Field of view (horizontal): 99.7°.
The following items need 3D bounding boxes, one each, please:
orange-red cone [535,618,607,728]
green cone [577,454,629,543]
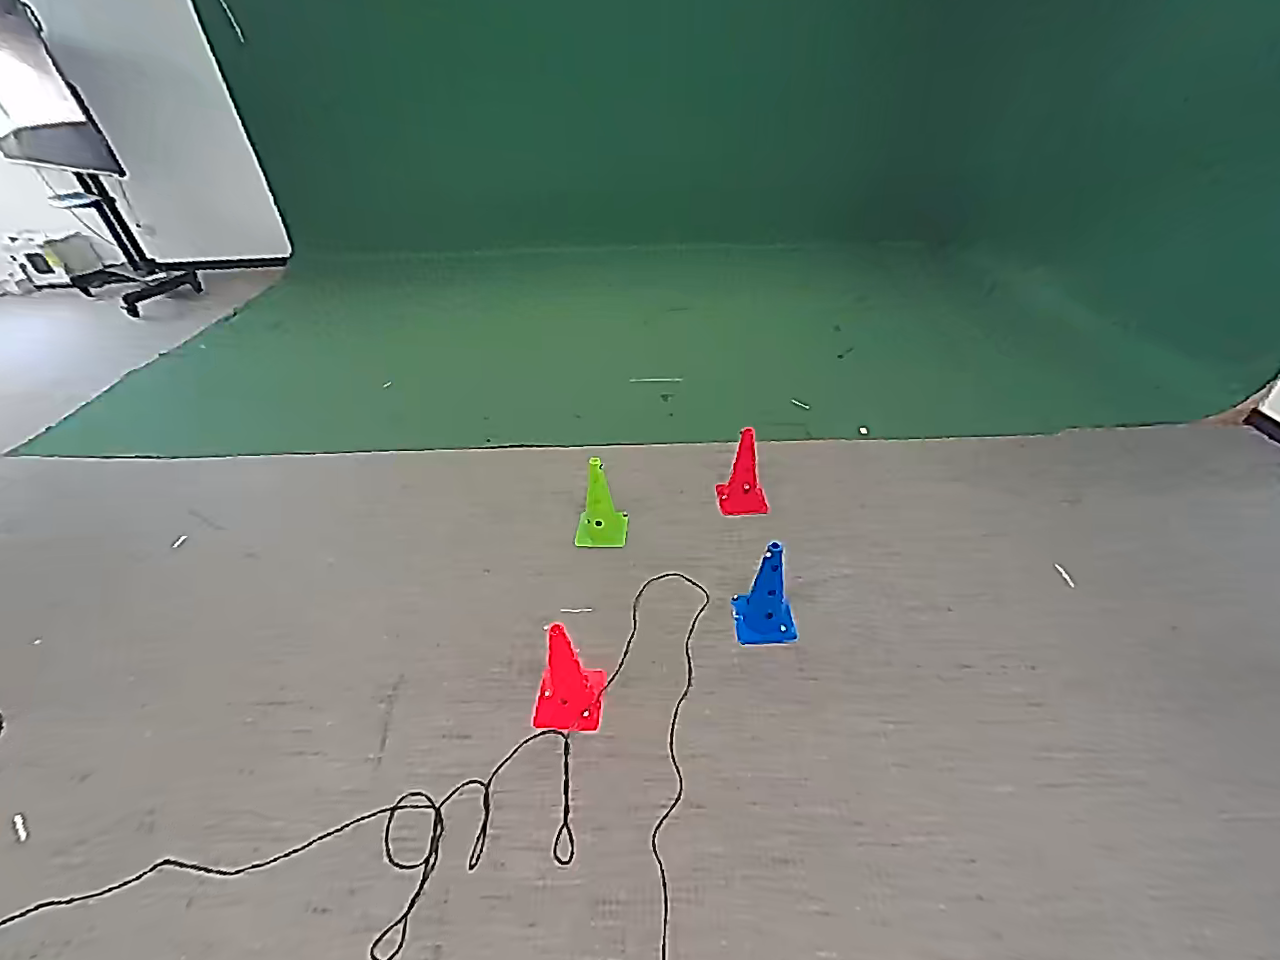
[{"bbox_3d":[-0.210,0.515,1.536,0.198,0.360,0.199,3,38,5],"label":"orange-red cone"},{"bbox_3d":[-0.158,0.051,2.099,0.200,0.368,0.202,0,40,4],"label":"green cone"}]
